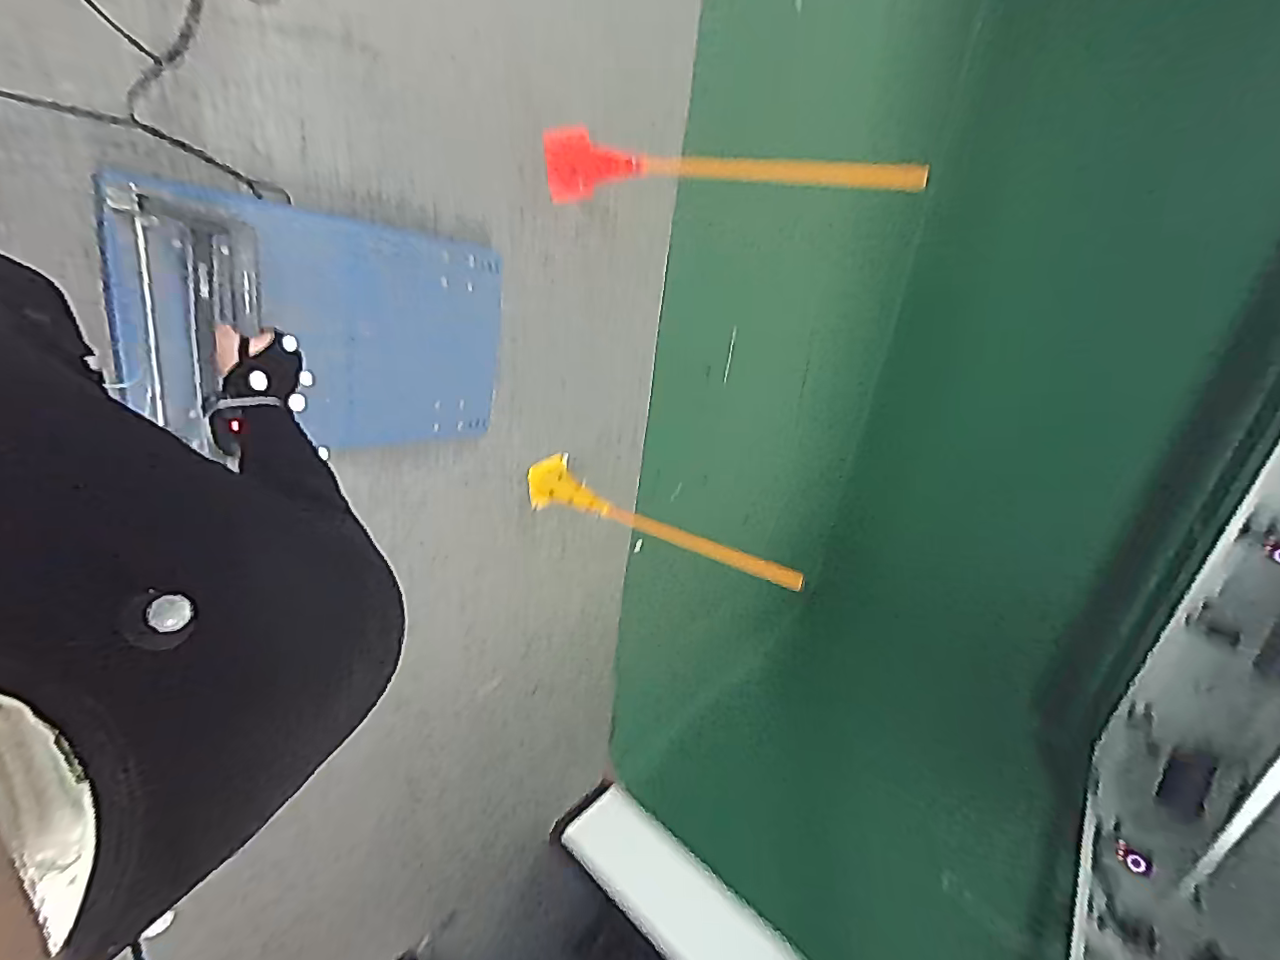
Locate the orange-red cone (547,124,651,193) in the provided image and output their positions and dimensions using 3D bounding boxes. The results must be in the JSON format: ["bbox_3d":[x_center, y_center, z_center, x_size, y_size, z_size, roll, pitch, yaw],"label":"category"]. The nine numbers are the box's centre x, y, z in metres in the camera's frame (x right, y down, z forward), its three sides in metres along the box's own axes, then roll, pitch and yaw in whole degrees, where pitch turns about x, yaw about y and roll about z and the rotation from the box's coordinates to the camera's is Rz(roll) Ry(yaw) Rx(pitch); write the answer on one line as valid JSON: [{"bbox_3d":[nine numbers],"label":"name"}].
[{"bbox_3d":[-0.109,-1.045,1.750,0.198,0.360,0.199,-34,132,-37],"label":"orange-red cone"}]
